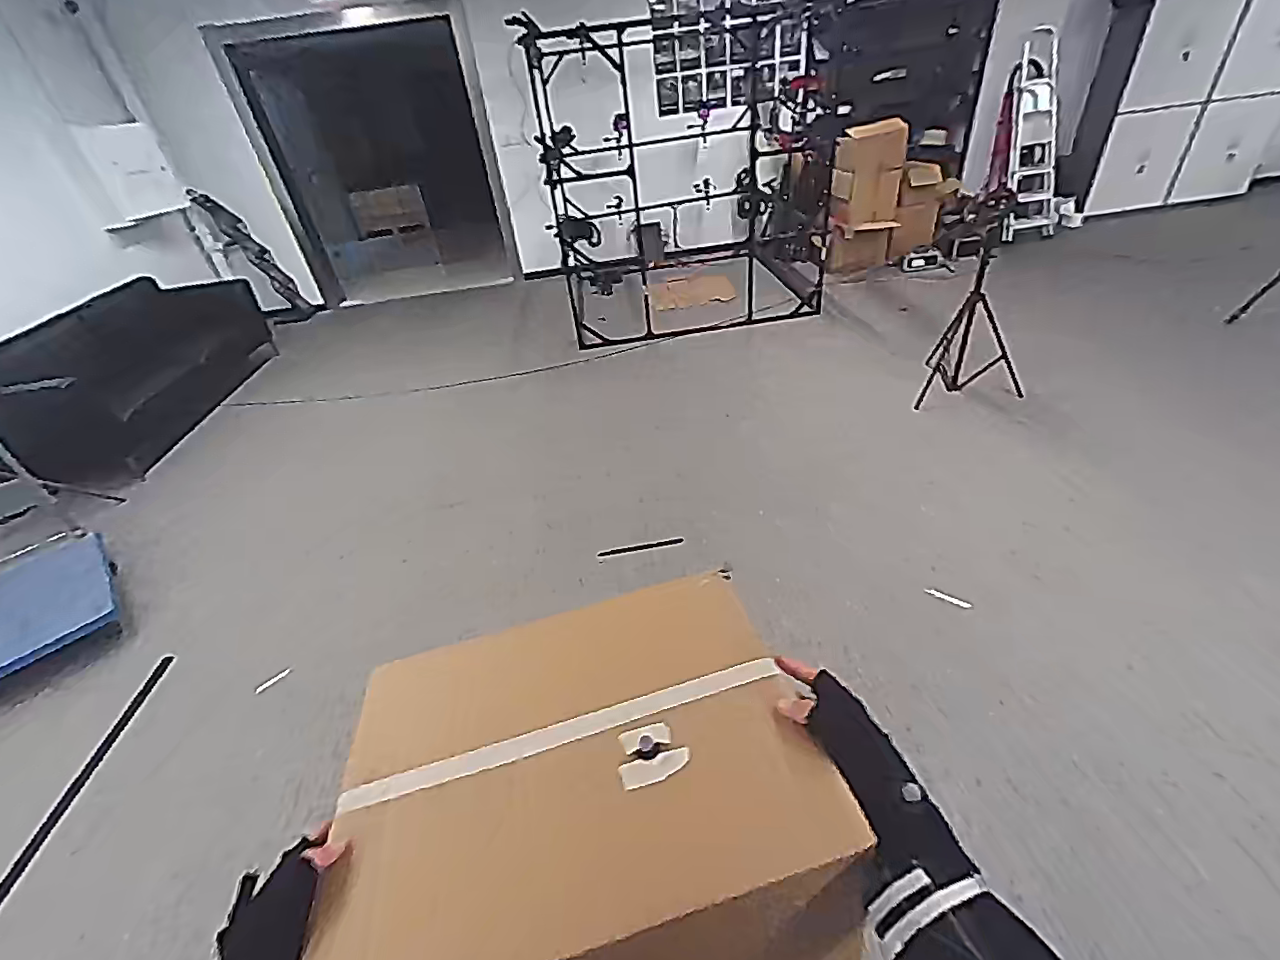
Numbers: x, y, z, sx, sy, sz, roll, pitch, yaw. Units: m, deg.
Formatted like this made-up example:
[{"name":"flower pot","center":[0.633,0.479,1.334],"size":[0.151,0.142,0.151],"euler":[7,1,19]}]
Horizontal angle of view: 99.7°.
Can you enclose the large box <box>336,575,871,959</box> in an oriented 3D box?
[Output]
[{"name":"large box","center":[-0.026,0.360,0.578],"size":[0.408,0.320,0.320],"euler":[-14,31,-5]}]
